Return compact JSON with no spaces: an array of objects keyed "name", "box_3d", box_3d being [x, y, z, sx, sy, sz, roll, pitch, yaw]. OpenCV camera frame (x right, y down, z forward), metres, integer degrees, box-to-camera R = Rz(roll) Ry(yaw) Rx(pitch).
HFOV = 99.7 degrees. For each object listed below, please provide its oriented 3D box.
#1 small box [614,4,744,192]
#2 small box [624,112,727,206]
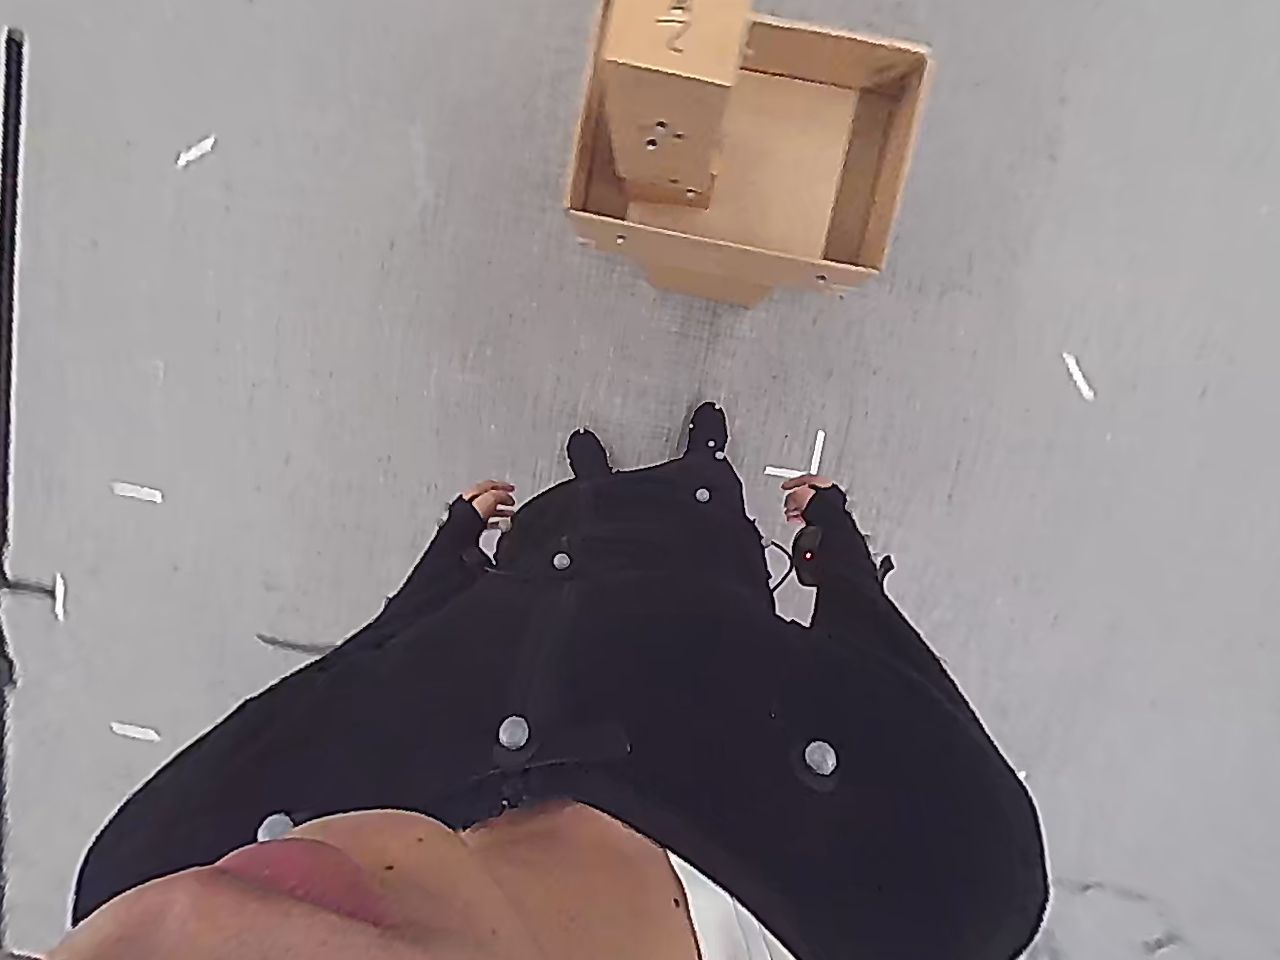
[{"name":"small box","box_3d":[0.058,-0.609,0.884,0.168,0.176,0.179,12,96,0]},{"name":"small box","box_3d":[0.067,-0.649,1.043,0.179,0.176,0.168,7,97,1]}]
